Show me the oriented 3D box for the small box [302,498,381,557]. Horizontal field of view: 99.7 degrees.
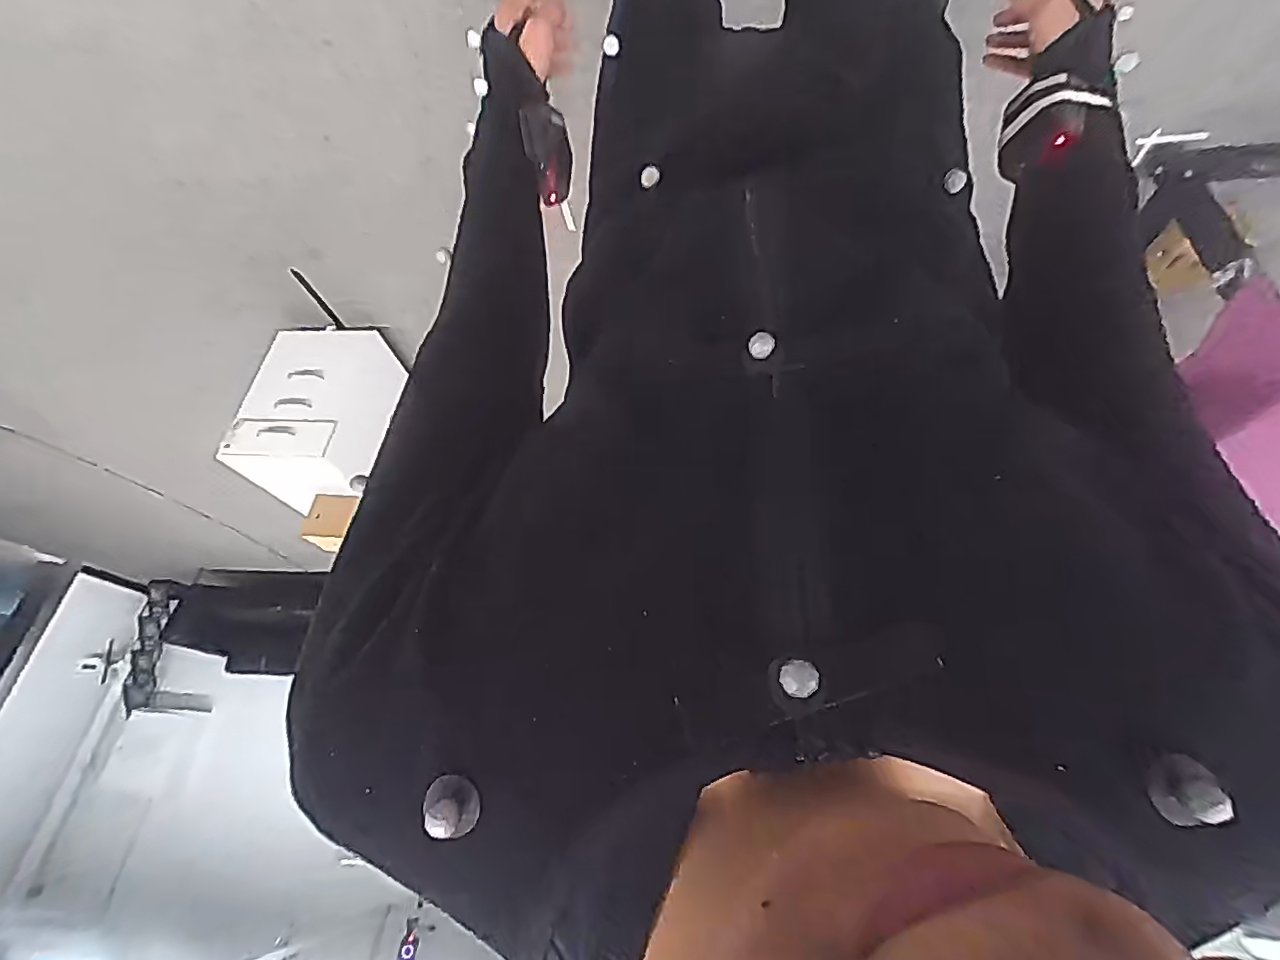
[{"bbox_3d":[-1.113,0.177,2.030,0.179,0.176,0.168,2,153,5],"label":"small box"}]
